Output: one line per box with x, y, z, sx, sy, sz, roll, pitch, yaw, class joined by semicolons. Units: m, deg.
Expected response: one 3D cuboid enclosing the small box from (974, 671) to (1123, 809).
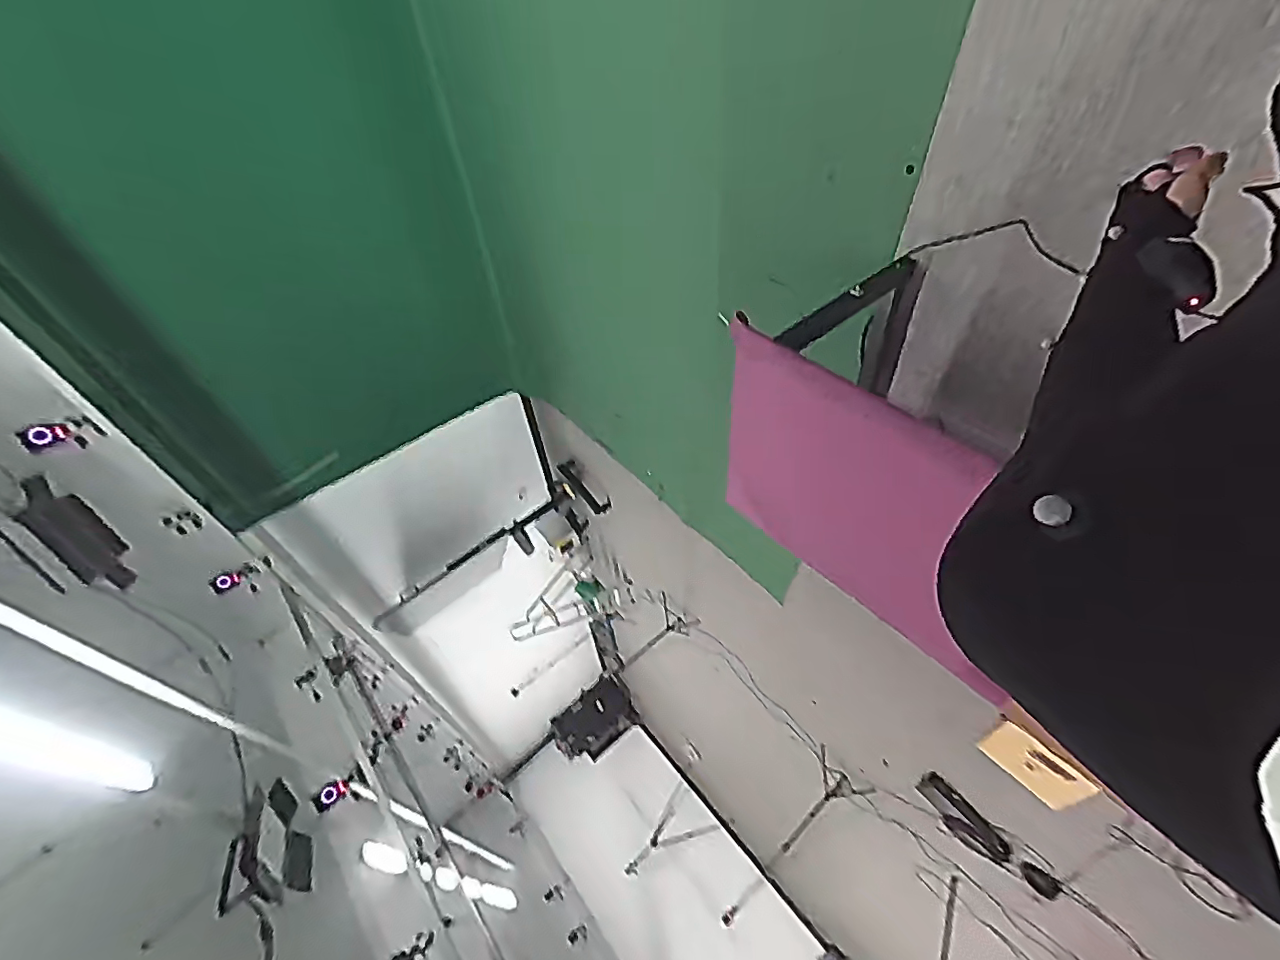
0.842;0.530;1.116;0.168;0.176;0.179;40;152;33;small box
